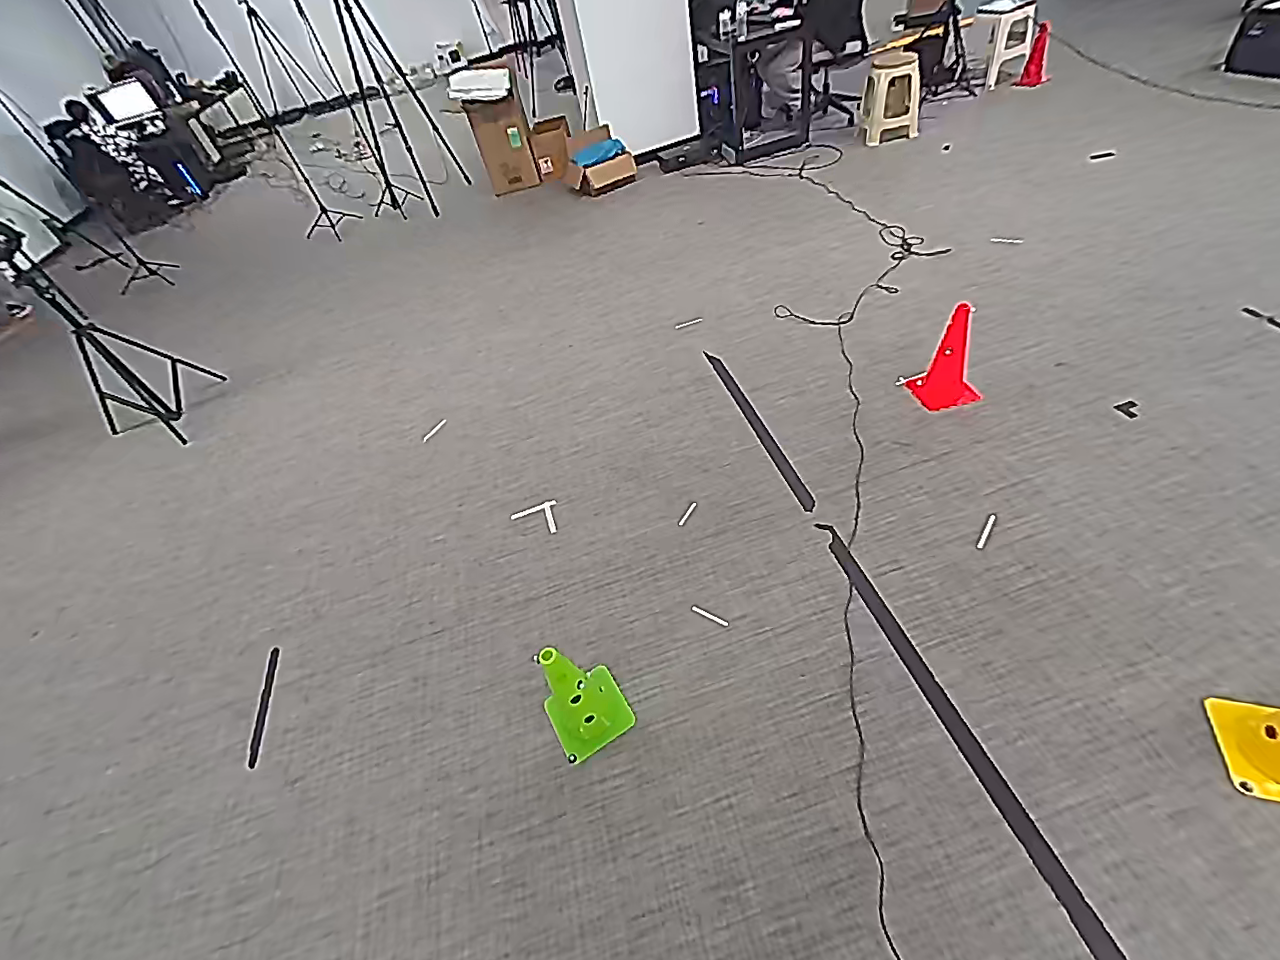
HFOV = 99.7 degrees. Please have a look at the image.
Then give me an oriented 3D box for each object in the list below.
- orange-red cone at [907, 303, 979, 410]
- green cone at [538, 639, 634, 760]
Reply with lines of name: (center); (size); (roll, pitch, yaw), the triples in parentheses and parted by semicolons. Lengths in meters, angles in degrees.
orange-red cone: (1.101, -0.454, 1.906); (0.198, 0.360, 0.199); (-14, 47, 3)
green cone: (-0.170, 0.501, 1.337); (0.200, 0.368, 0.202); (-30, 46, -14)
